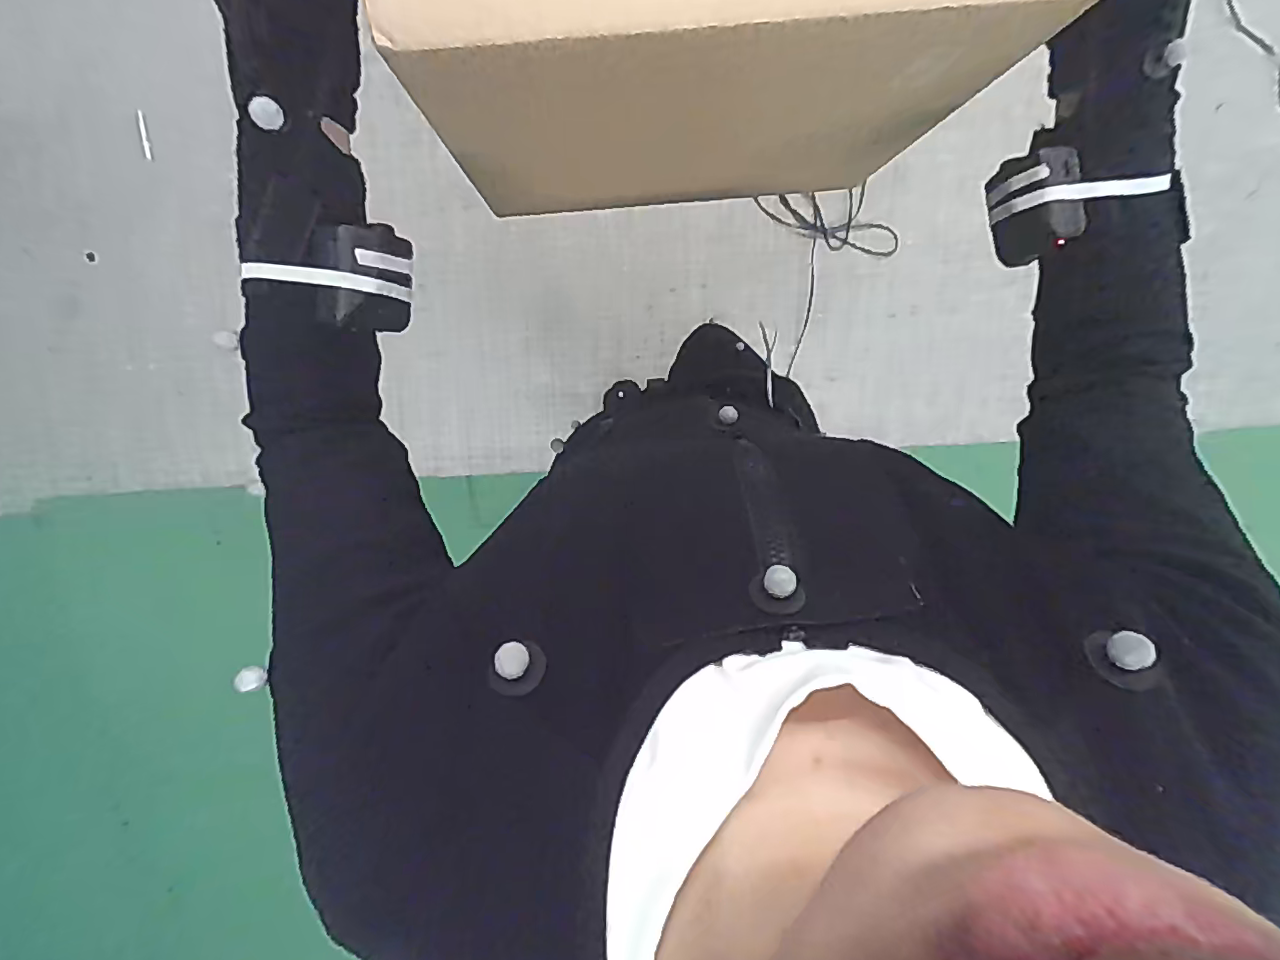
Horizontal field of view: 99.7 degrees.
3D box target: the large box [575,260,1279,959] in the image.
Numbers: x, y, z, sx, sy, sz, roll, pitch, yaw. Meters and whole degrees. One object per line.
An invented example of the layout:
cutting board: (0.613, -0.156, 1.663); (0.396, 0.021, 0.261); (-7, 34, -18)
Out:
large box: (0.227, 0.128, 0.322); (0.320, 0.320, 0.408); (12, 66, 30)
